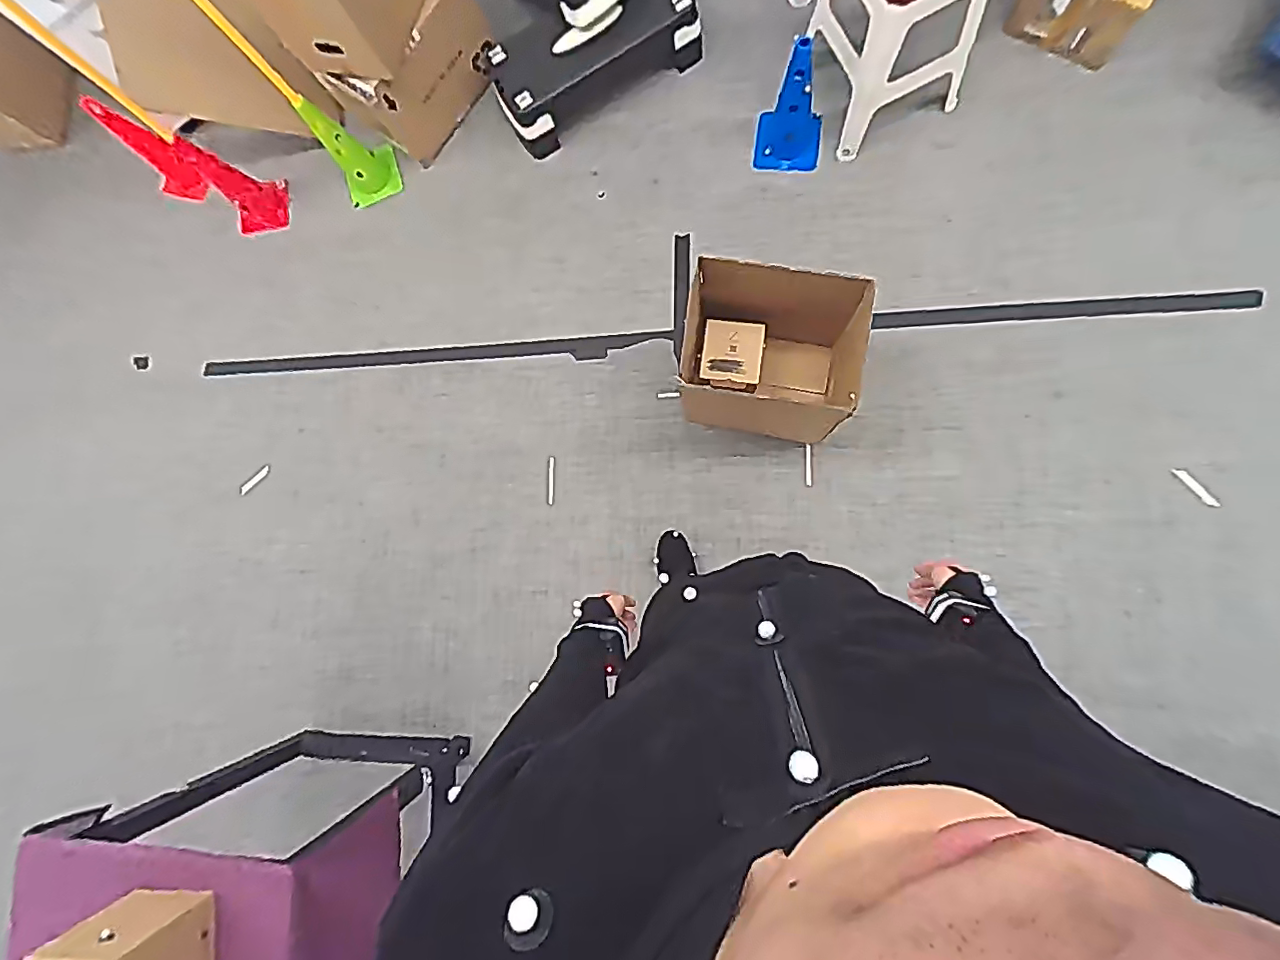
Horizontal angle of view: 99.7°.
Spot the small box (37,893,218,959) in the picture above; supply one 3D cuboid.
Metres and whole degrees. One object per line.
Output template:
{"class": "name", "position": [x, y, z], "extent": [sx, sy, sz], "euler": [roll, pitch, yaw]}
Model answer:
{"class": "small box", "position": [-0.853, 0.835, 0.910], "extent": [0.179, 0.176, 0.168], "euler": [-7, 83, 9]}
